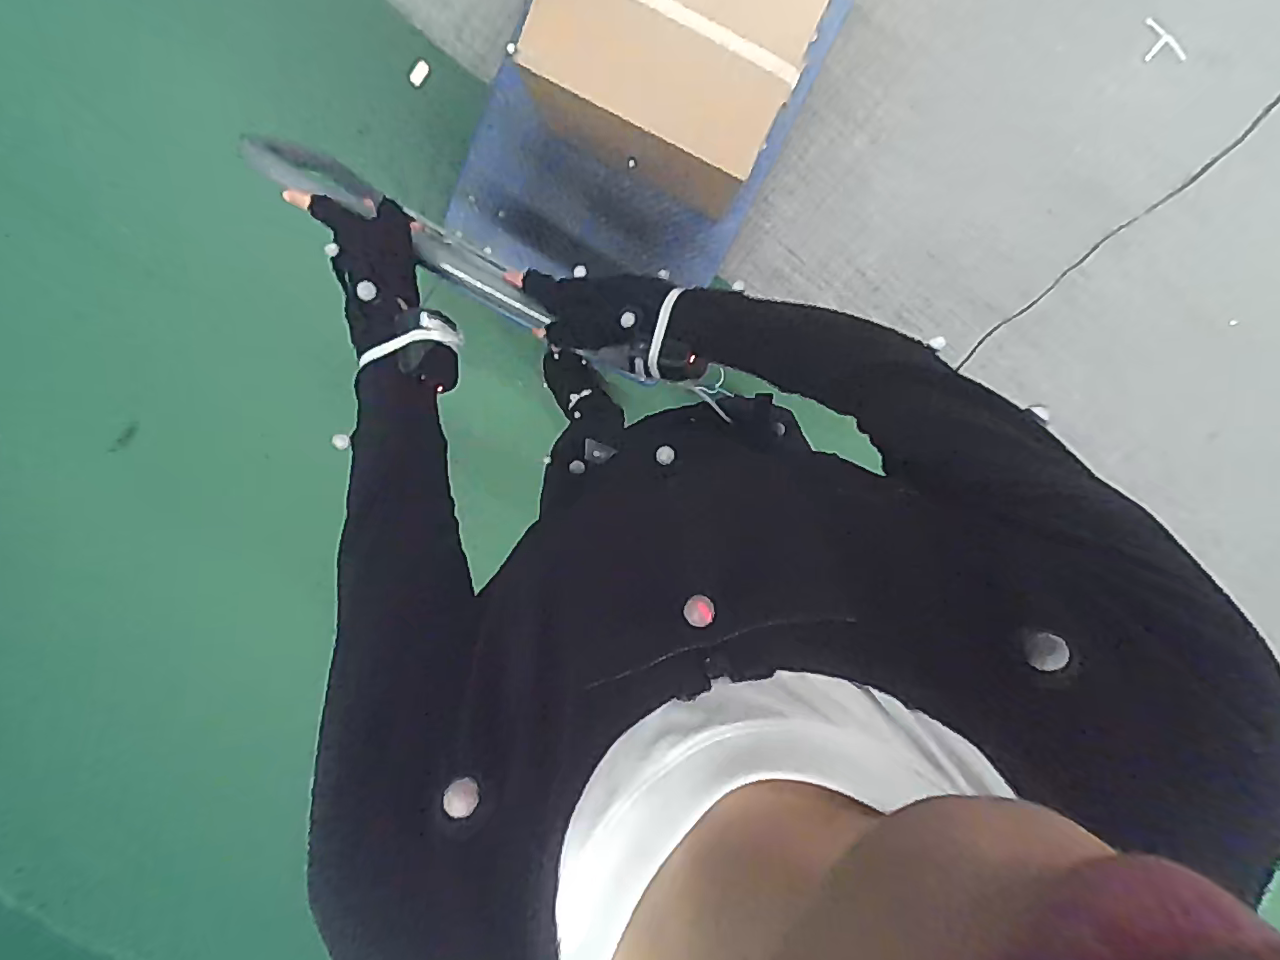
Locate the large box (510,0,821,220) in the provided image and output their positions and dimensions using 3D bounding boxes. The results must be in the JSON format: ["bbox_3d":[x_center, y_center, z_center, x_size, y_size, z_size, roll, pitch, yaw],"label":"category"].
[{"bbox_3d":[0.045,-0.726,0.960,0.408,0.320,0.320,25,102,-5],"label":"large box"}]
